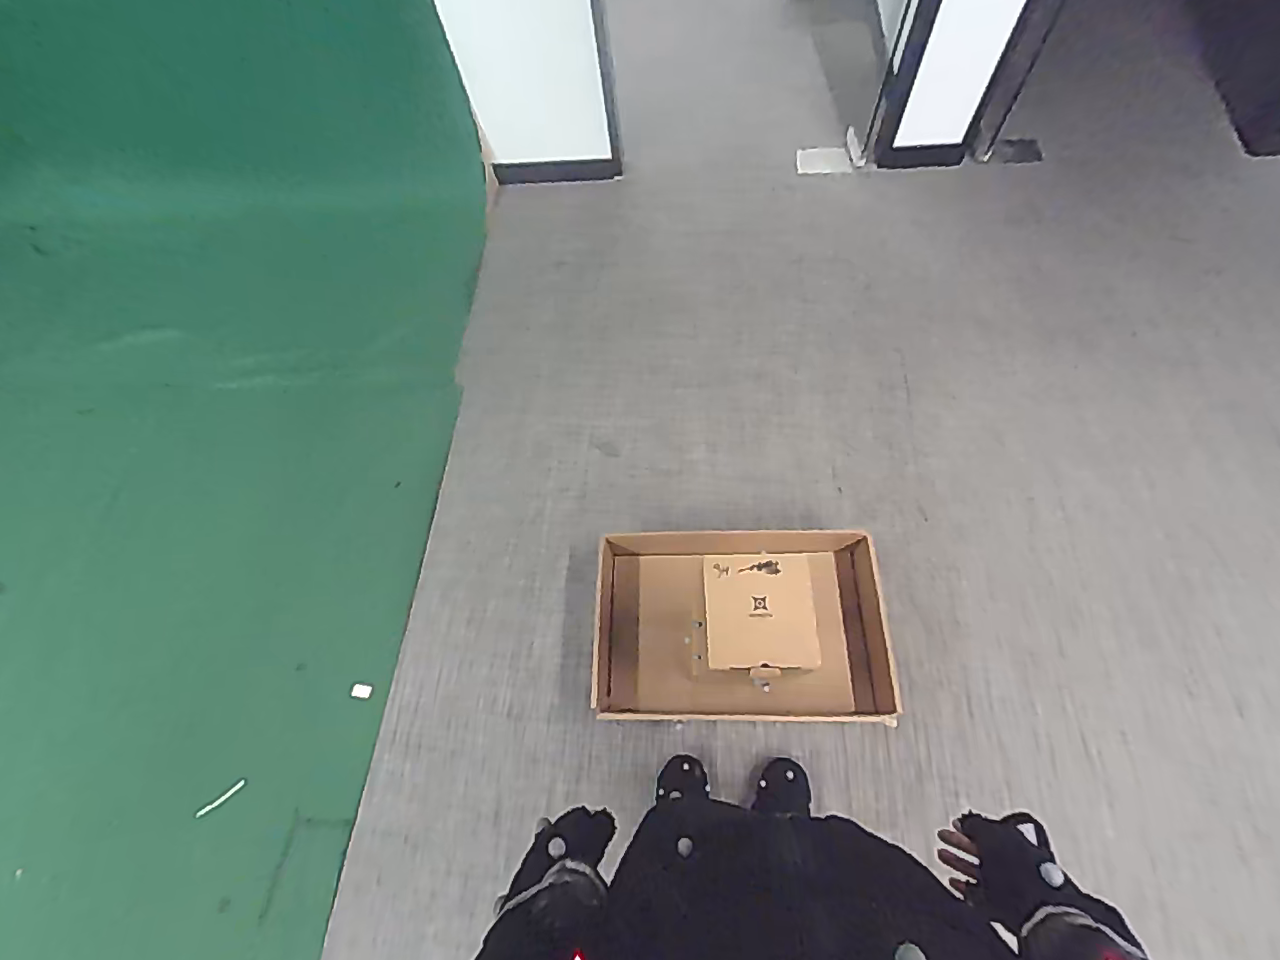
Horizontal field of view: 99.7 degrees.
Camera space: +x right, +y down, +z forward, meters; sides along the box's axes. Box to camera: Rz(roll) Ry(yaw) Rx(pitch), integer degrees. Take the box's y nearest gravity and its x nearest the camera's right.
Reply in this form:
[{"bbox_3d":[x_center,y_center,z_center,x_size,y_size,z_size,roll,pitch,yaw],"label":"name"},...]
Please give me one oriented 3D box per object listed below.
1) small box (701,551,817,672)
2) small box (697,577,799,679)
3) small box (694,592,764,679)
[{"bbox_3d":[0.188,0.225,0.904,0.168,0.176,0.179,-1,66,4],"label":"small box"},{"bbox_3d":[0.199,0.286,1.037,0.168,0.176,0.179,-5,66,3],"label":"small box"},{"bbox_3d":[0.209,0.347,1.204,0.179,0.176,0.168,-1,65,7],"label":"small box"}]
